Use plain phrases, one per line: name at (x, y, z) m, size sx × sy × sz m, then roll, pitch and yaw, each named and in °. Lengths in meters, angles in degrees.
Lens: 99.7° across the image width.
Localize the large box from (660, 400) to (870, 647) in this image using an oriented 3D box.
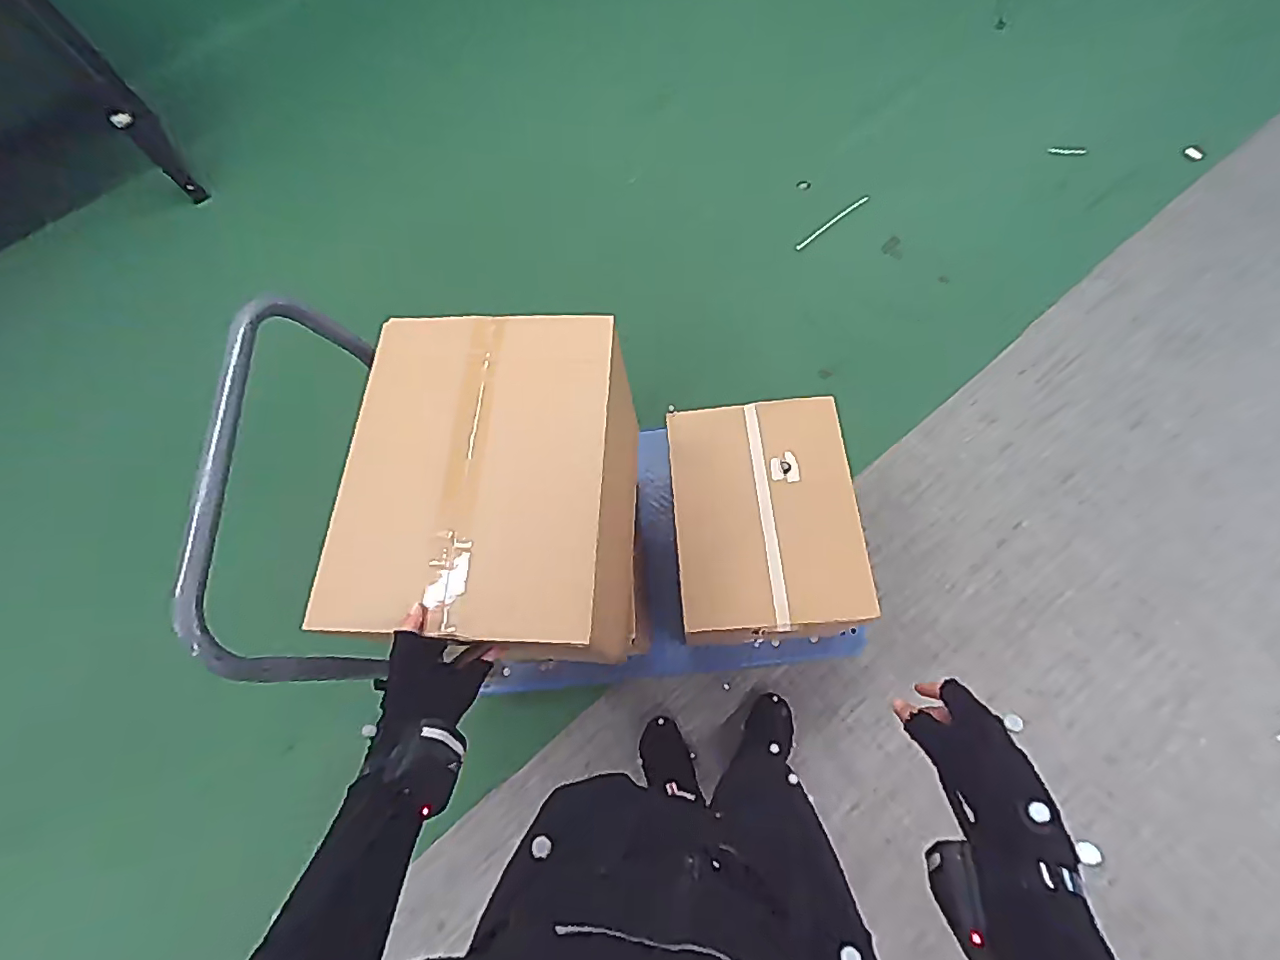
large box at (0.221, 0.103, 1.079) m, size 0.320 × 0.320 × 0.408 m, roll -5°, pitch 68°, yaw 4°
